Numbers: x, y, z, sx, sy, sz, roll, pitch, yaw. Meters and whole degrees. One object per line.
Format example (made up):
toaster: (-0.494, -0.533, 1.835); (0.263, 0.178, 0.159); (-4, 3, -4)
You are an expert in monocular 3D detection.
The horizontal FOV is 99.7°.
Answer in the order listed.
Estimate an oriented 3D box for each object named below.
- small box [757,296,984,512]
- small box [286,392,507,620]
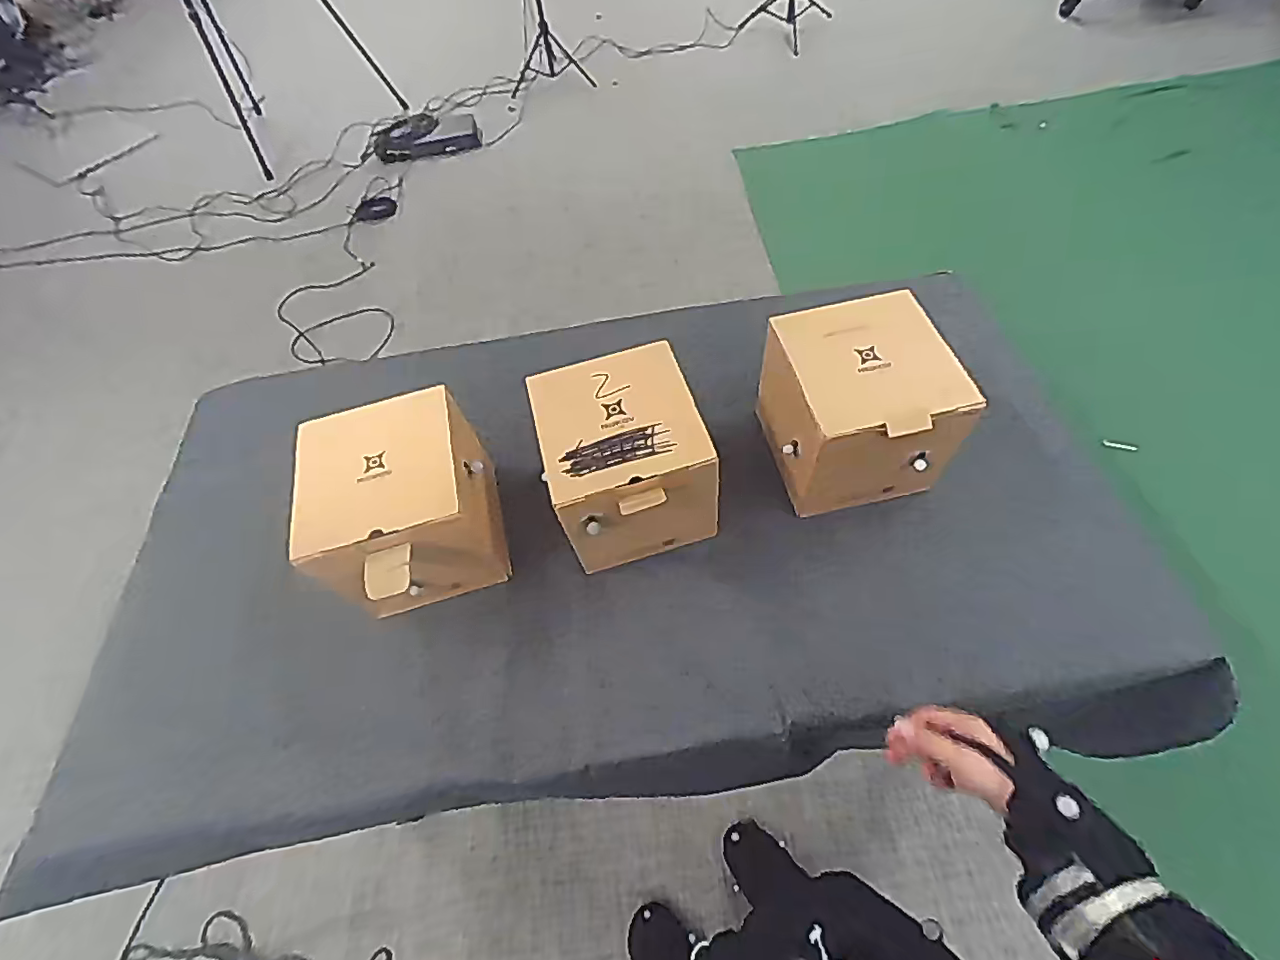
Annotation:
small box: (0.245, -0.078, 0.629); (0.168, 0.176, 0.179); (-12, 57, -2)
small box: (-0.263, 0.034, 0.616); (0.168, 0.176, 0.179); (-17, 58, -4)
